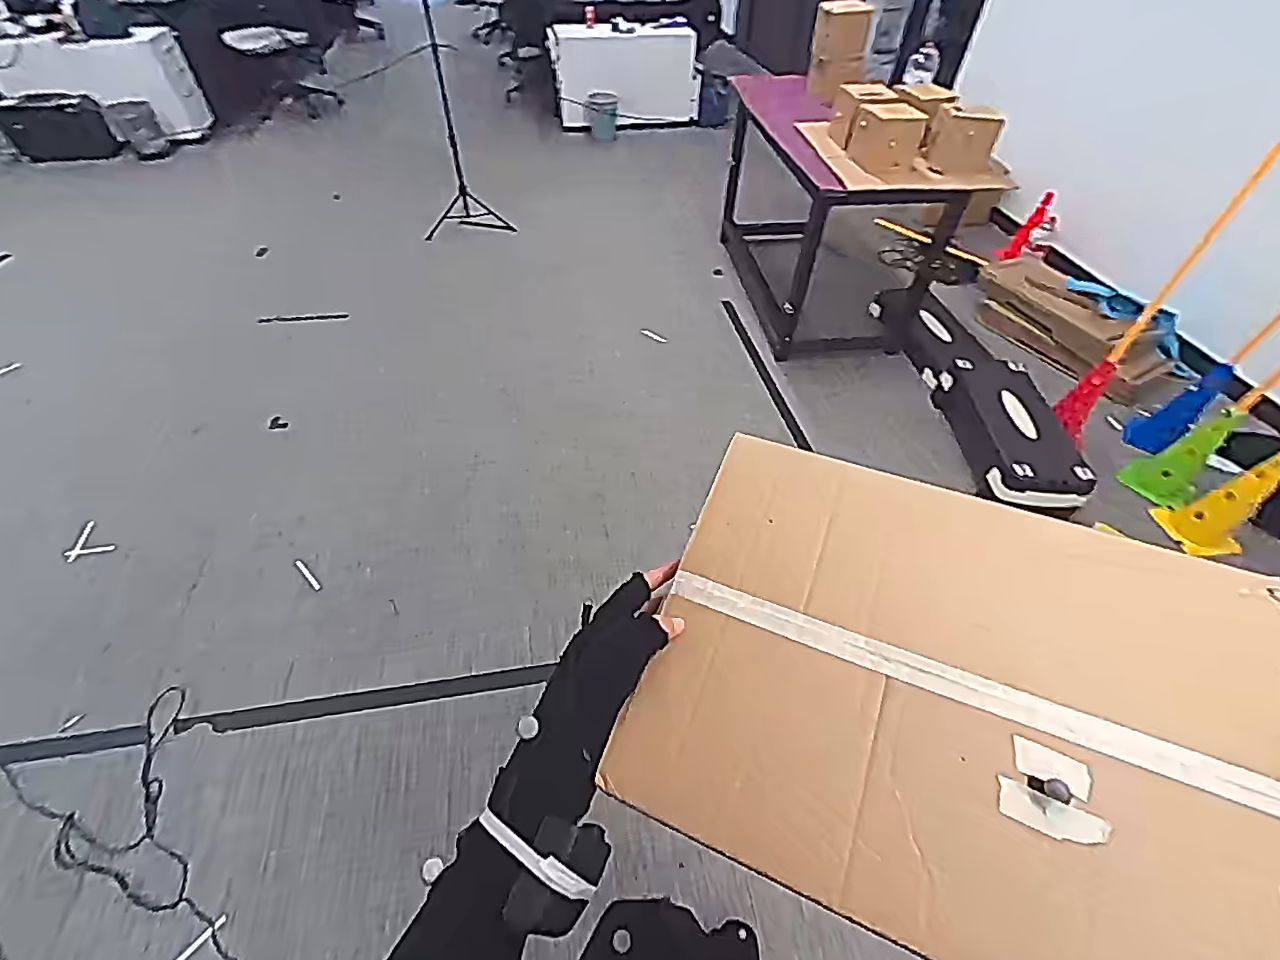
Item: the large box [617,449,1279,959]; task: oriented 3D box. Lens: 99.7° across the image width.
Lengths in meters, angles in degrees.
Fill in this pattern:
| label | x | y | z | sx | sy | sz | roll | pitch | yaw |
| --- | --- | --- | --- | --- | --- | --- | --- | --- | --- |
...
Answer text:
| label | x | y | z | sx | sy | sz | roll | pitch | yaw |
| --- | --- | --- | --- | --- | --- | --- | --- | --- | --- |
| large box | 0.234 | 0.221 | 0.519 | 0.408 | 0.320 | 0.320 | 18 | 64 | 17 |
